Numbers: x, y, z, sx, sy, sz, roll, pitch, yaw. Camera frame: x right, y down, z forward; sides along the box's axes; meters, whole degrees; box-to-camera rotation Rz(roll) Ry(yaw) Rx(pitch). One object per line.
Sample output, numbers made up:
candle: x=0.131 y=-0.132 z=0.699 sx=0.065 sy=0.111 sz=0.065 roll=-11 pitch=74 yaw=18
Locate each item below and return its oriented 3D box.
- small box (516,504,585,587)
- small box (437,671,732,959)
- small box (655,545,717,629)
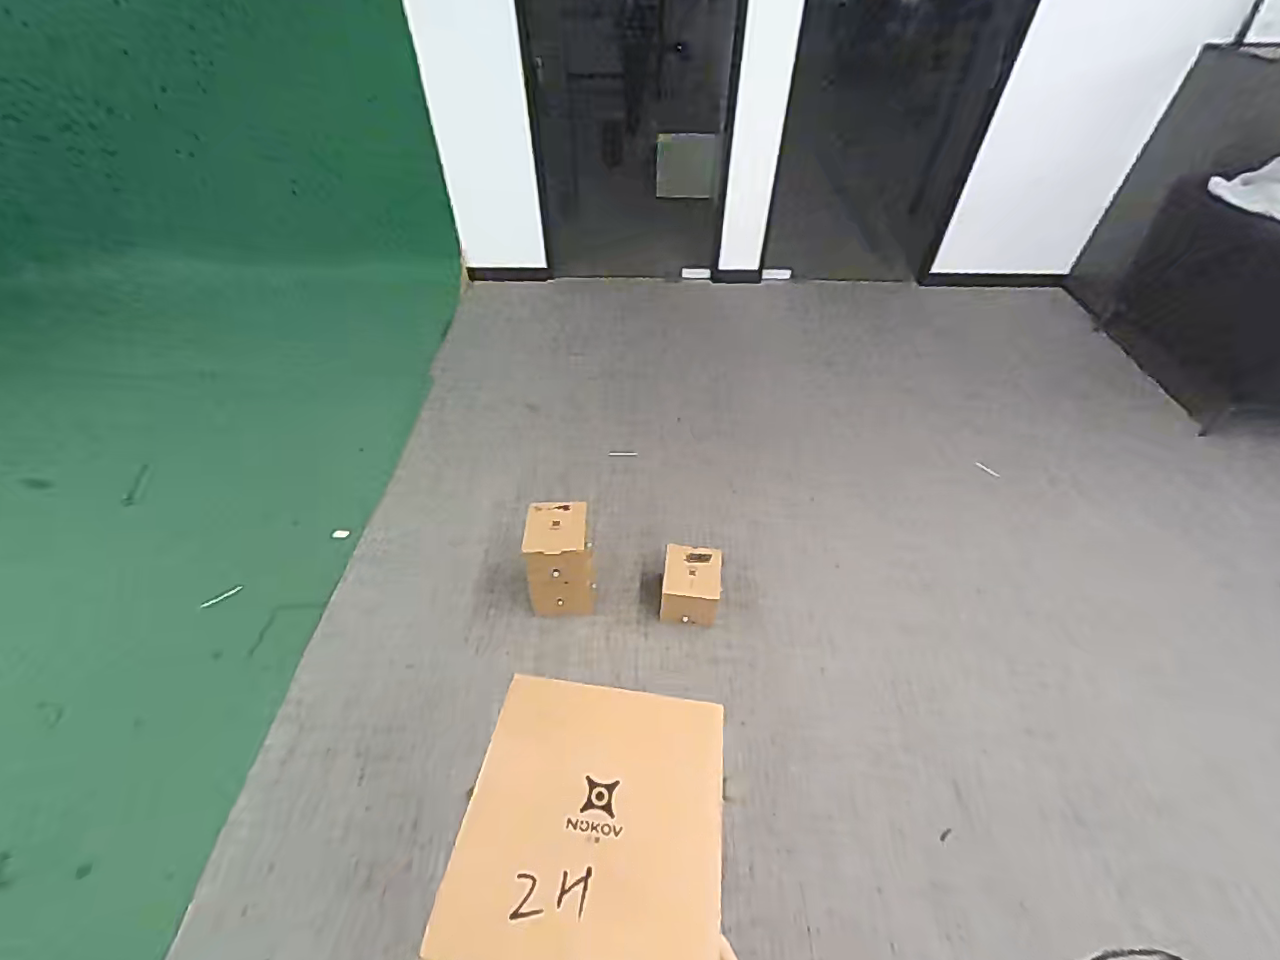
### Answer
small box: x=-0.244 y=0.188 z=1.520 sx=0.168 sy=0.176 sz=0.179 roll=-1 pitch=47 yaw=-2
small box: x=-0.026 y=0.277 z=0.405 sx=0.168 sy=0.176 sz=0.179 roll=7 pitch=39 yaw=5
small box: x=0.137 y=0.323 z=1.627 sx=0.168 sy=0.176 sz=0.179 roll=6 pitch=48 yaw=4
